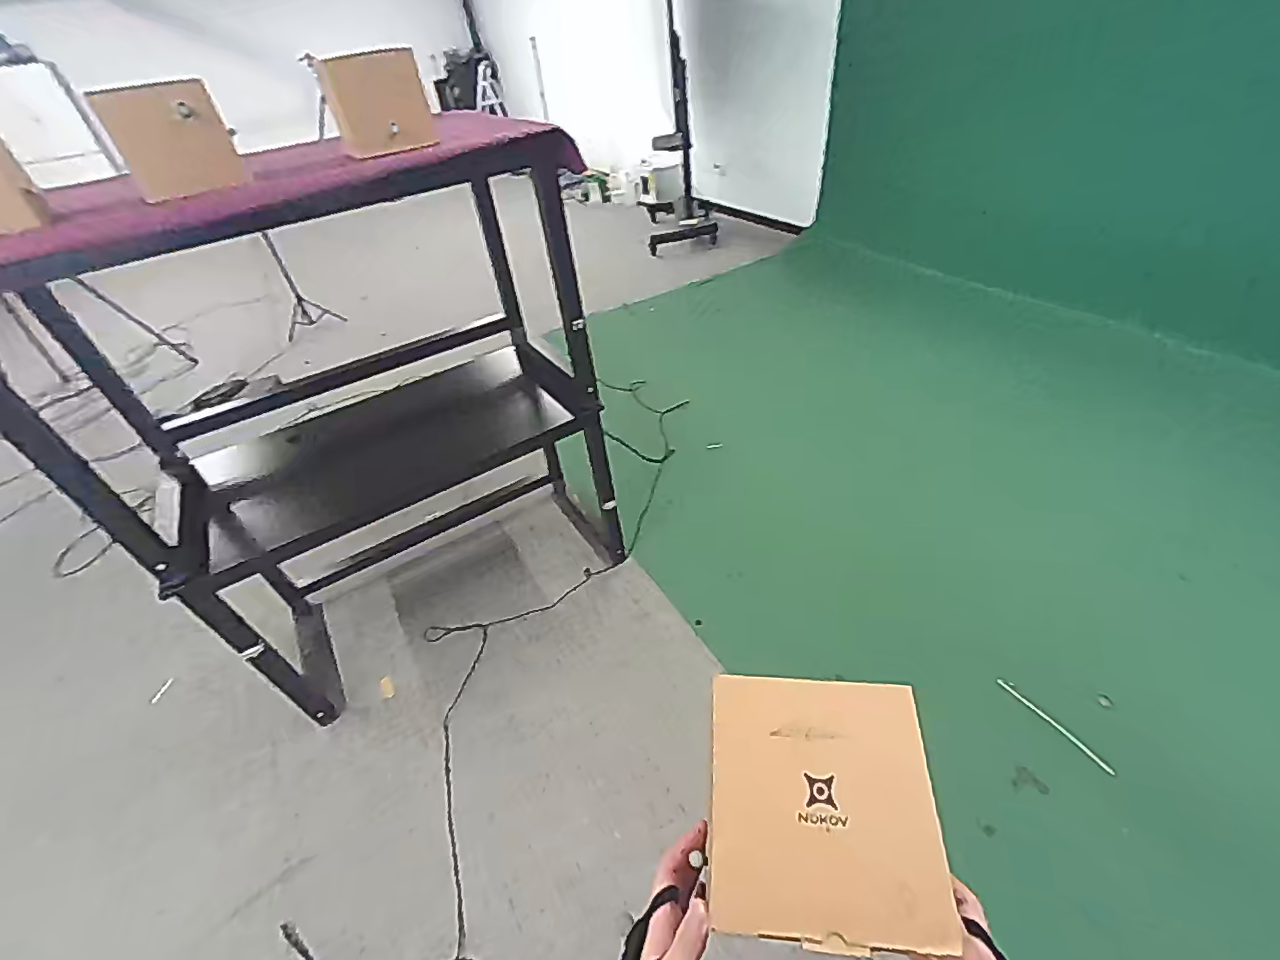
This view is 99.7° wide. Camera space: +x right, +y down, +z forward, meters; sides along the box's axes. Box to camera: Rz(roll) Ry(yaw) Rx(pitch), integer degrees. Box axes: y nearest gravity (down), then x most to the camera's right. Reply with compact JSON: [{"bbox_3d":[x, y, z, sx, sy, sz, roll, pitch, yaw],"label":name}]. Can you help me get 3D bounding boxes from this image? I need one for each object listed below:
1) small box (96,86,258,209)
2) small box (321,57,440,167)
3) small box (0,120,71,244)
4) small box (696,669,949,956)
[{"bbox_3d":[-0.863,-0.637,1.033,0.179,0.176,0.168,-26,42,-20],"label":"small box"},{"bbox_3d":[-0.548,-0.790,1.160,0.179,0.176,0.168,-26,42,-20],"label":"small box"},{"bbox_3d":[-1.135,-0.493,0.909,0.179,0.176,0.168,-28,44,-23],"label":"small box"},{"bbox_3d":[0.135,0.282,0.470,0.168,0.176,0.179,1,53,6],"label":"small box"}]
